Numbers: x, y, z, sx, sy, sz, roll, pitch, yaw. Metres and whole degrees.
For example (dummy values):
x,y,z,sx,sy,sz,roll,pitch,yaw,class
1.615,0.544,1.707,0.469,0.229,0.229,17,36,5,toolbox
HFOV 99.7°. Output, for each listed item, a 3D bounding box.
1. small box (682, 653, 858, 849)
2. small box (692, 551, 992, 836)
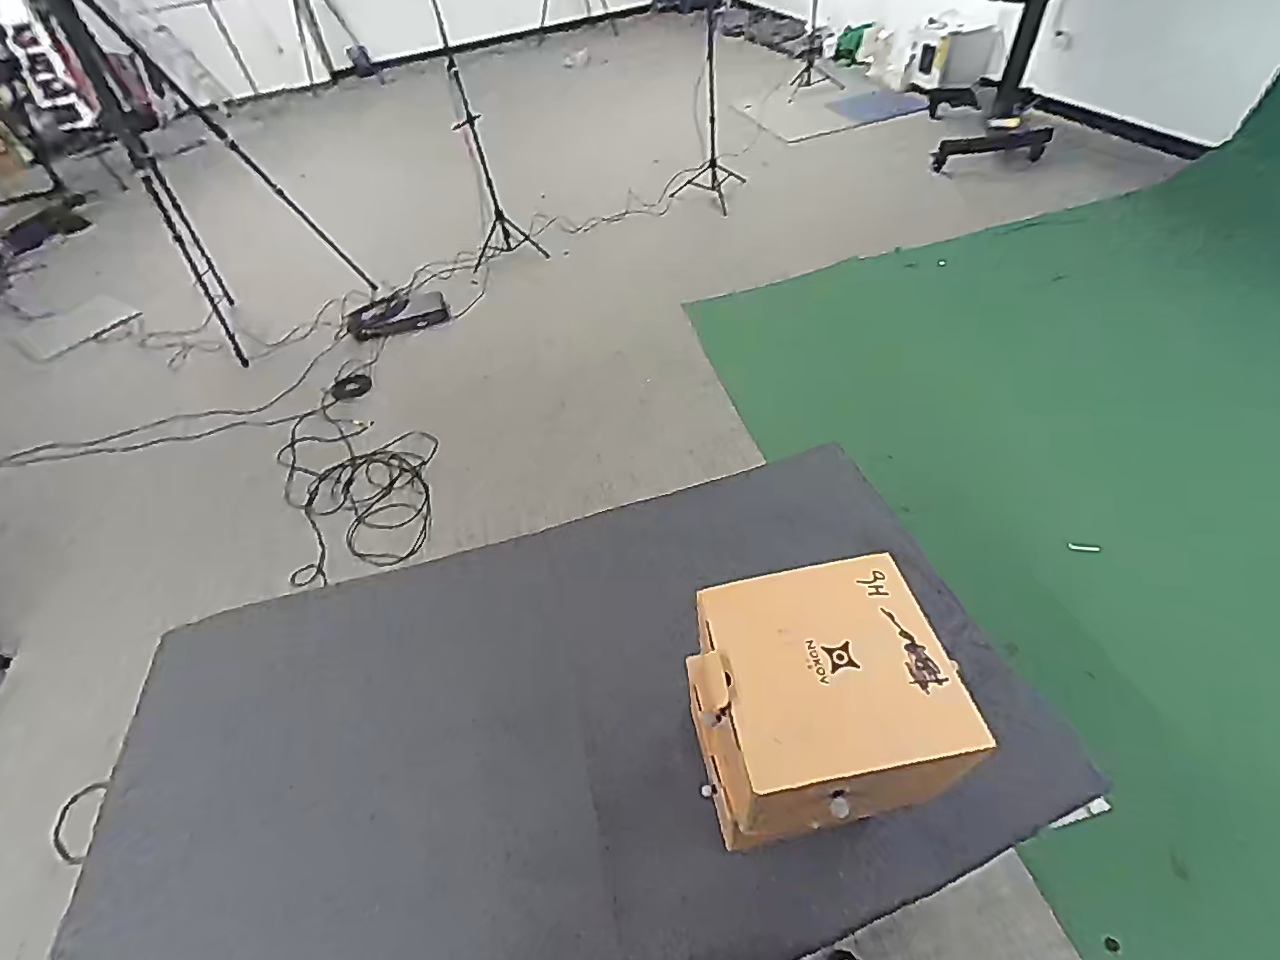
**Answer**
x,y,z,sx,sy,sz,roll,pitch,yaw,class
0.154,0.288,0.602,0.179,0.176,0.168,-12,48,-3,small box
0.151,0.189,0.470,0.179,0.176,0.168,-11,48,0,small box
